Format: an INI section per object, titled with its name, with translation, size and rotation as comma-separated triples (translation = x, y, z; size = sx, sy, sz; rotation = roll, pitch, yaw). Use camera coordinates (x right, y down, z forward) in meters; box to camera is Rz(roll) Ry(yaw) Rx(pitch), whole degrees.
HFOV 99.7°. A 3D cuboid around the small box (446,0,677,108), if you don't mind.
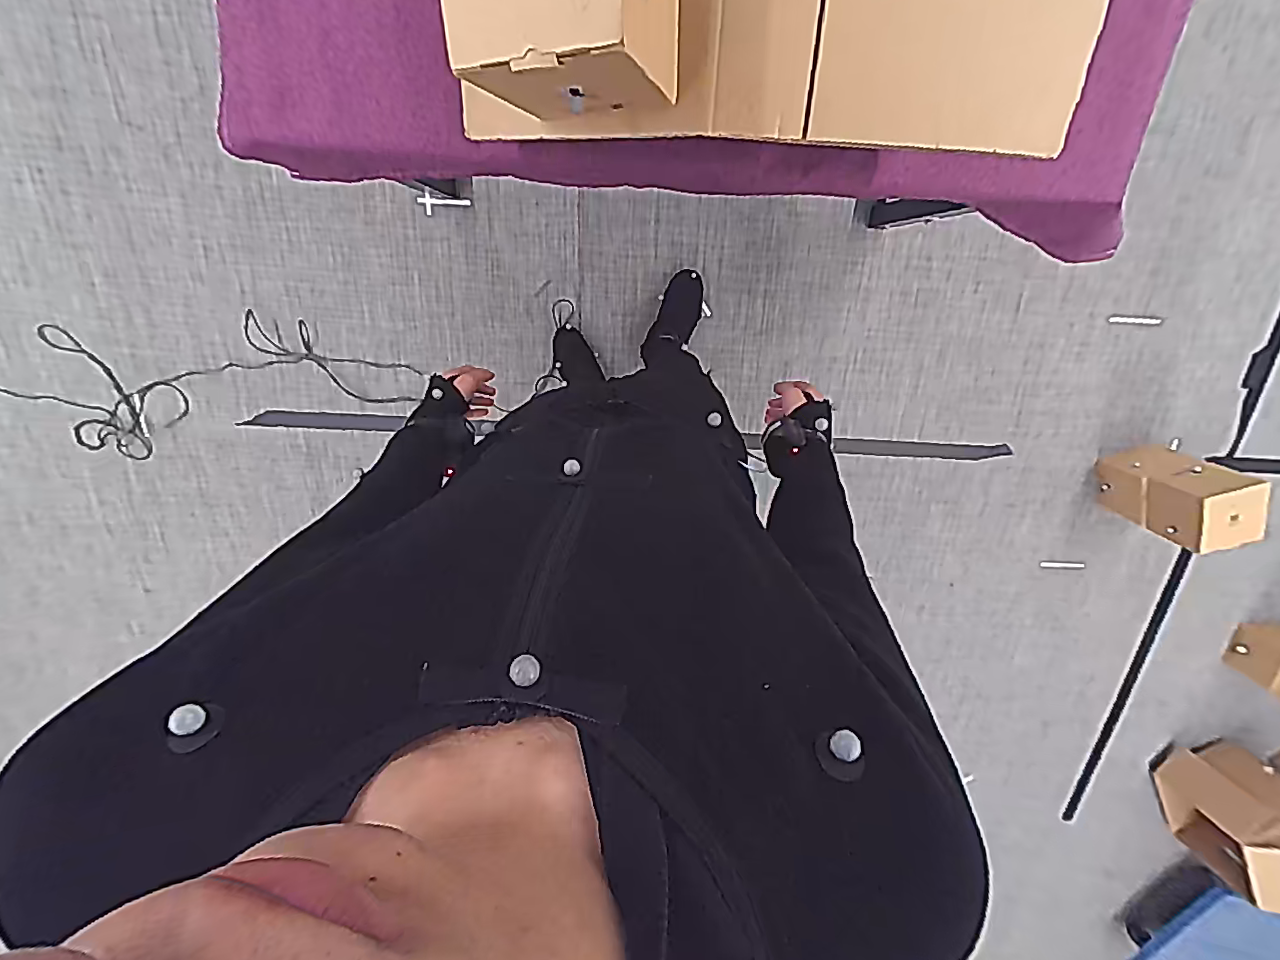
[small box]
translation = -0.063, -0.463, 0.496
size = 0.168, 0.176, 0.179
rotation = 6, 113, 17
